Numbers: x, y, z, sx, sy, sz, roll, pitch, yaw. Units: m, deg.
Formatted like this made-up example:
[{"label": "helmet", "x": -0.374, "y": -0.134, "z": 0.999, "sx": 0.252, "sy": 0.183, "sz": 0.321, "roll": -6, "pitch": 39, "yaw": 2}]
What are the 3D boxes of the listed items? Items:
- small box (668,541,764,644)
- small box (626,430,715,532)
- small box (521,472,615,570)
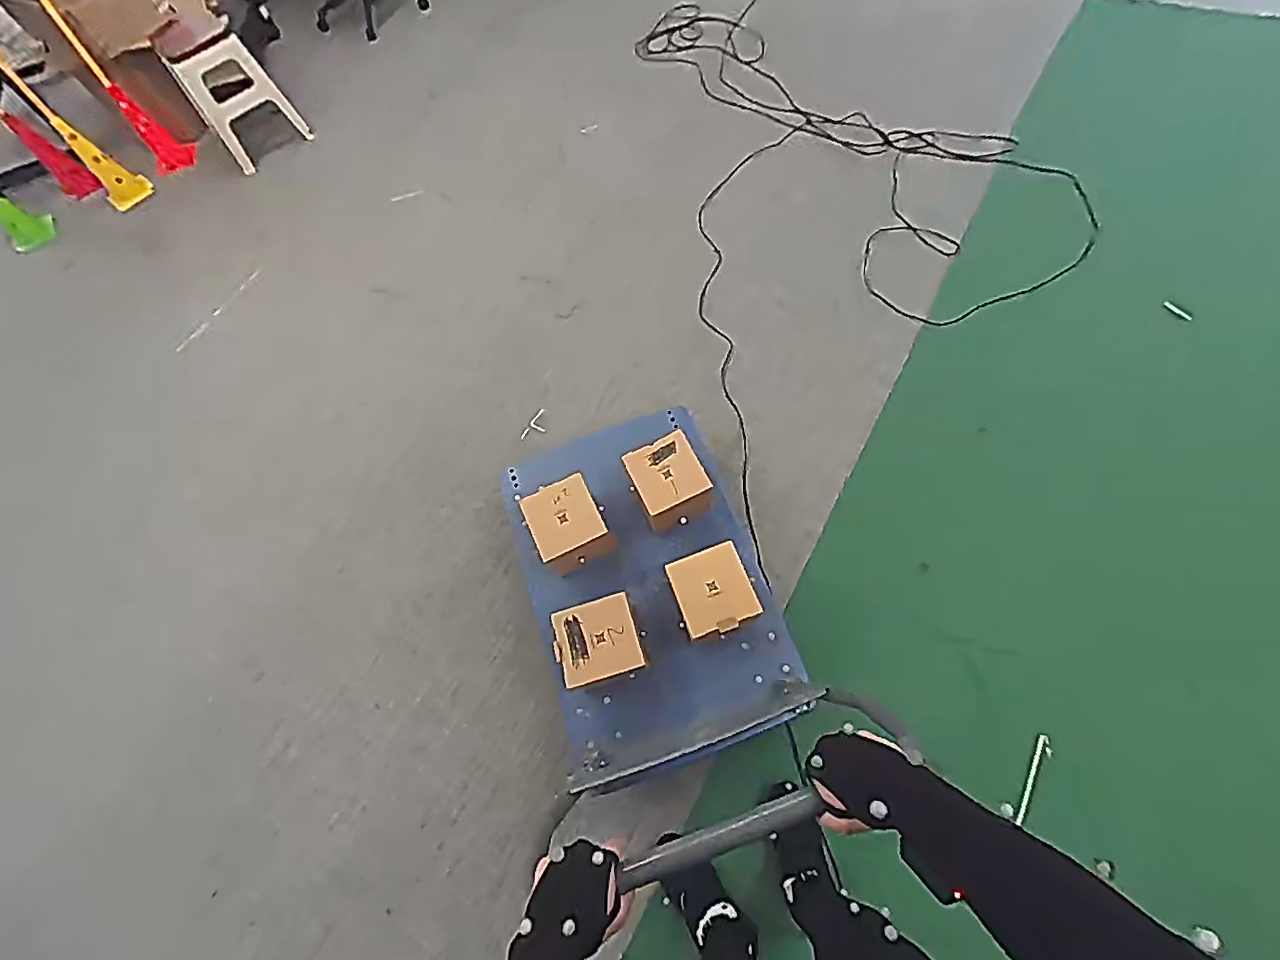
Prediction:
[{"label": "small box", "x": 0.171, "y": 0.268, "z": 1.262, "sx": 0.168, "sy": 0.176, "sz": 0.179, "roll": -20, "pitch": 69, "yaw": -3}, {"label": "small box", "x": 0.077, "y": 0.008, "z": 1.372, "sx": 0.168, "sy": 0.176, "sz": 0.179, "roll": -25, "pitch": 69, "yaw": -4}, {"label": "small box", "x": -0.173, "y": 0.112, "z": 1.355, "sx": 0.168, "sy": 0.176, "sz": 0.179, "roll": -25, "pitch": 68, "yaw": -5}]
